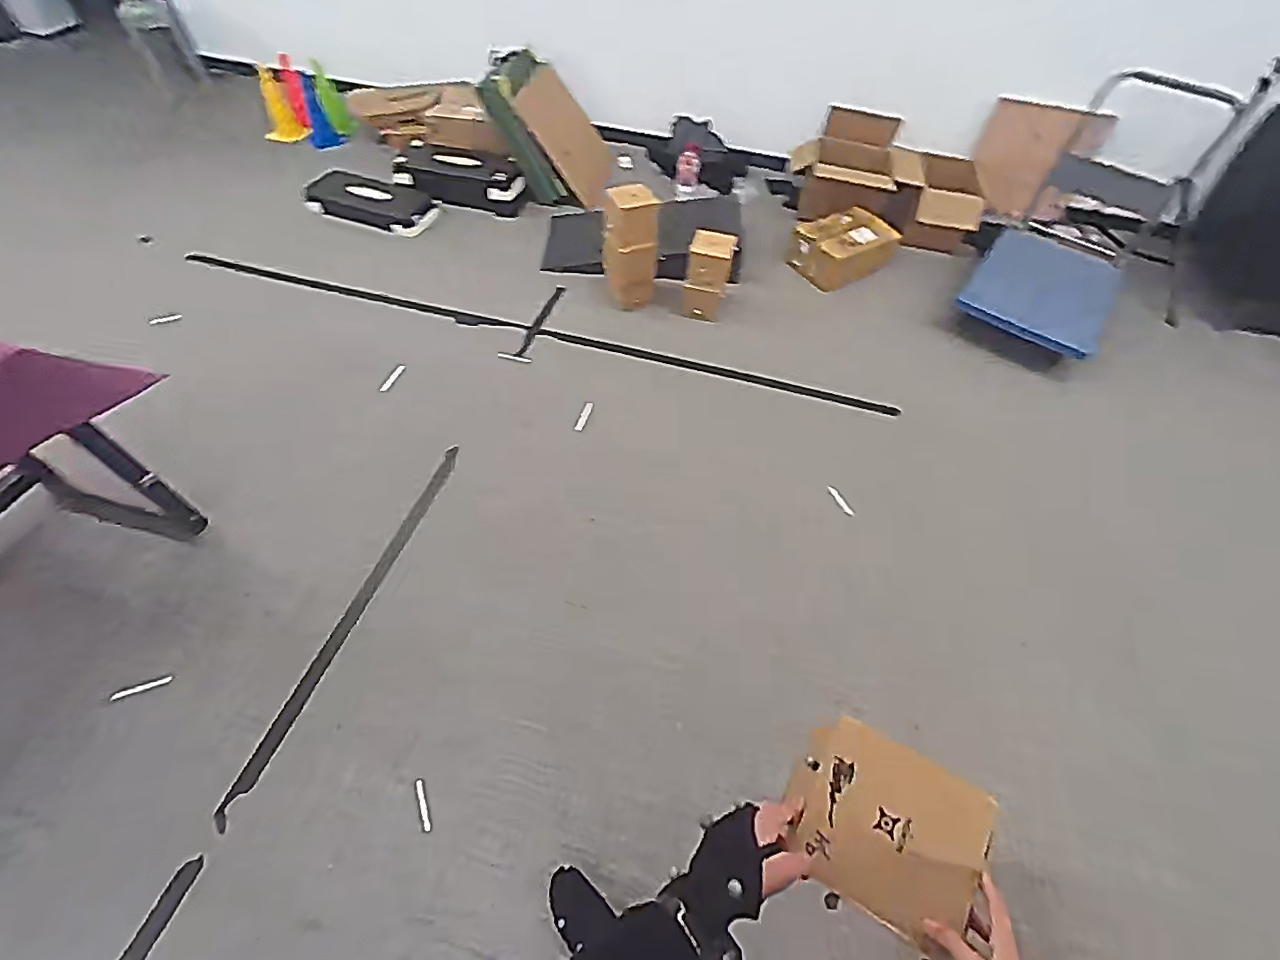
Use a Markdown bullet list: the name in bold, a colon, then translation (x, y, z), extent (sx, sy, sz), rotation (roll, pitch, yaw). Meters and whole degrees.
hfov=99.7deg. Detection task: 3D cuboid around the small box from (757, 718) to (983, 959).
- **small box**: translation (0.261, 0.411, 0.648), extent (0.179, 0.176, 0.168), rotation (26, 66, 17)
